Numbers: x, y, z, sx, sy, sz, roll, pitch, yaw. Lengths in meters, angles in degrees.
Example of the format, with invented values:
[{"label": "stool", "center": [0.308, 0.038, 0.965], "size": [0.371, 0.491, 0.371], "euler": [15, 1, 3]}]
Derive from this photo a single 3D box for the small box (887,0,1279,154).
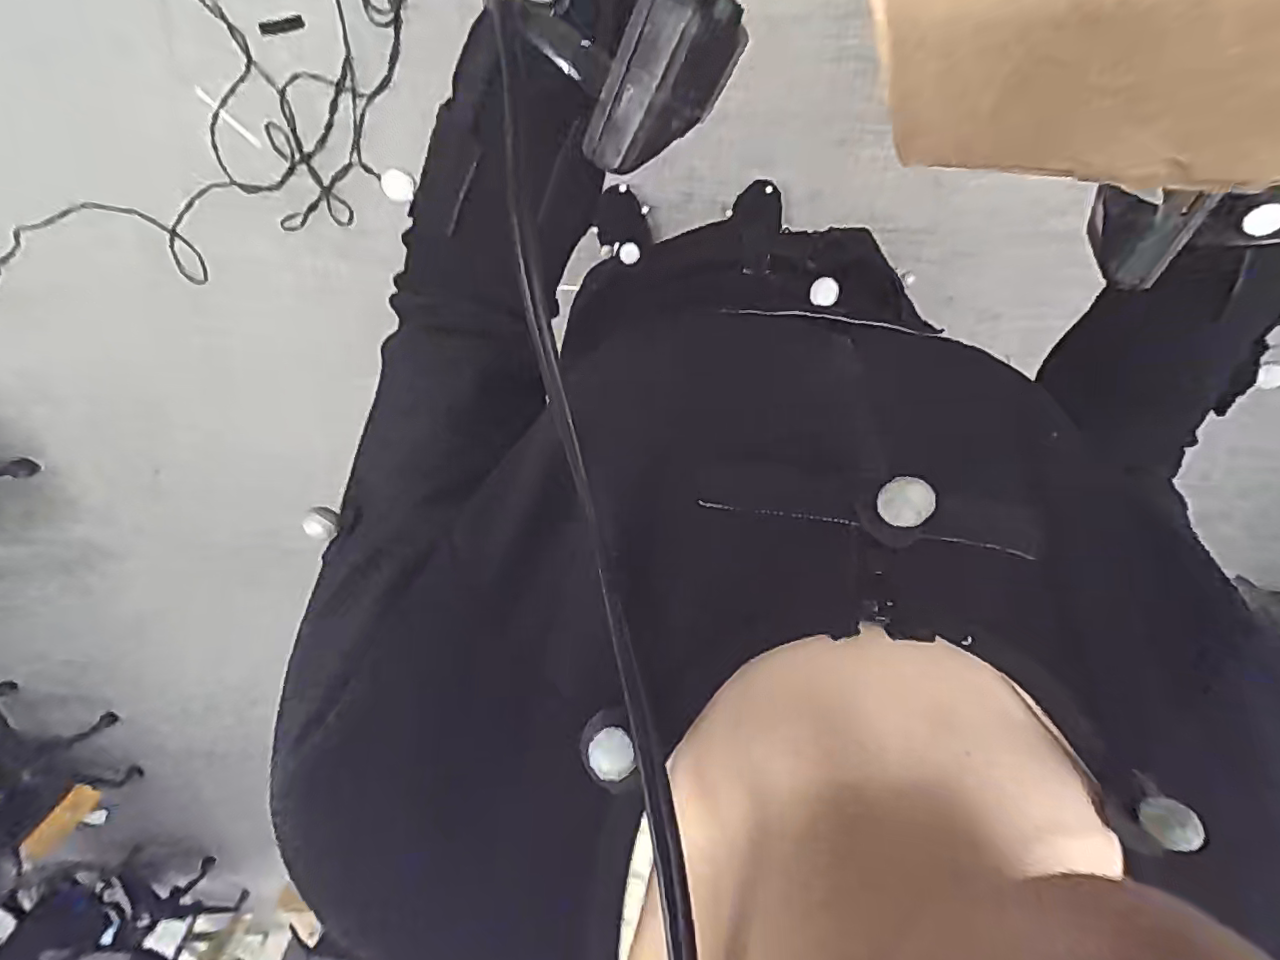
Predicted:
[{"label": "small box", "center": [0.165, -0.200, 0.104], "size": [0.176, 0.168, 0.179], "euler": [-56, 141, -6]}]
